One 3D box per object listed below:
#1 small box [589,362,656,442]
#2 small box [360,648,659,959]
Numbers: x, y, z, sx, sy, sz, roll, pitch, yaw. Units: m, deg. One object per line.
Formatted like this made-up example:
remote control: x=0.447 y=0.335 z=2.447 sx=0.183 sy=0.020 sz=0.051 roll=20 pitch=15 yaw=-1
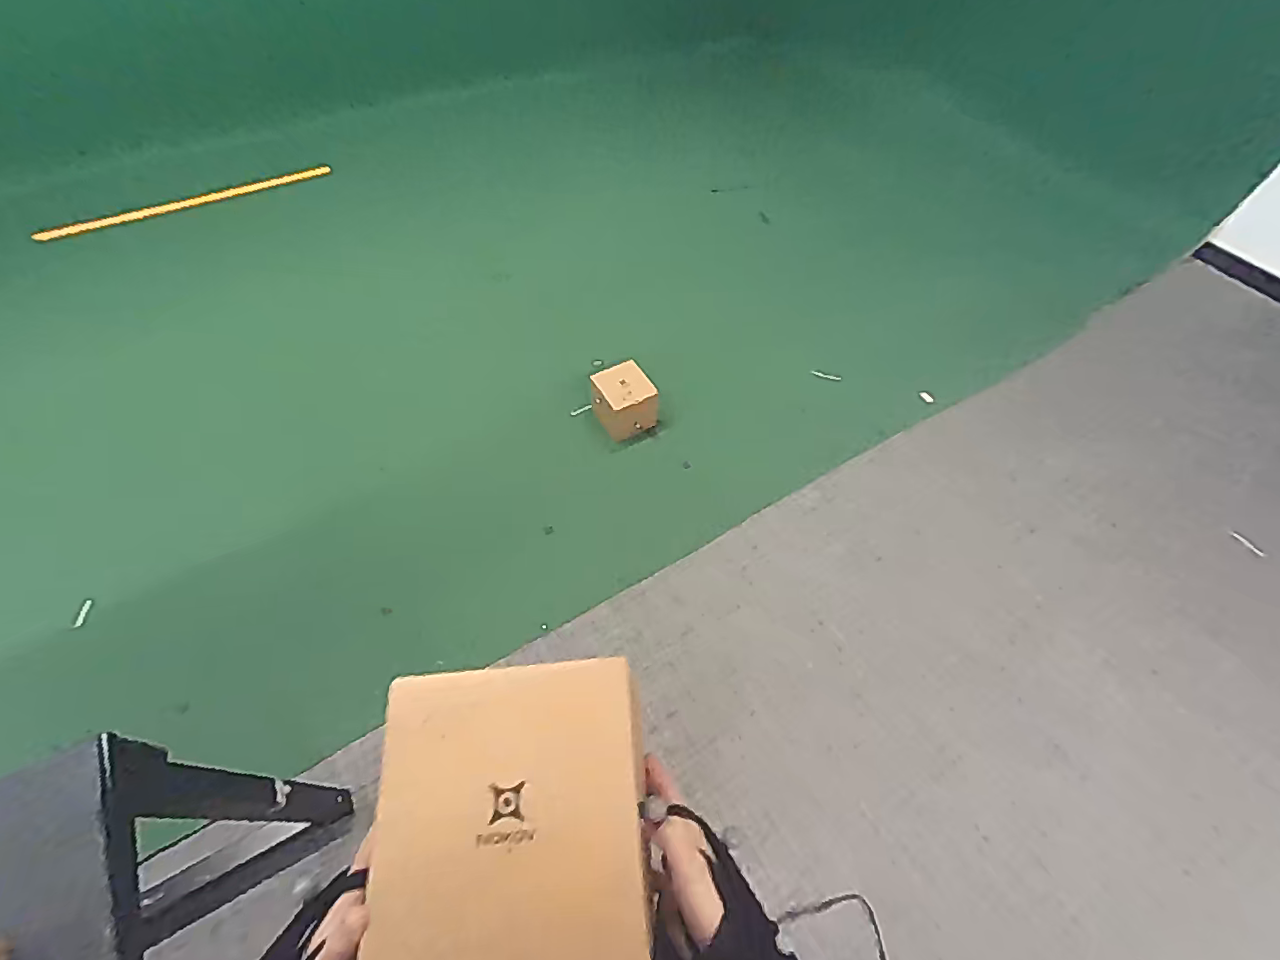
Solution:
small box: x=-0.063 y=-0.261 z=1.824 sx=0.168 sy=0.176 sz=0.179 roll=-25 pitch=61 yaw=-18
small box: x=-0.078 y=0.236 z=0.402 sx=0.168 sy=0.176 sz=0.179 roll=-6 pitch=63 yaw=-2
